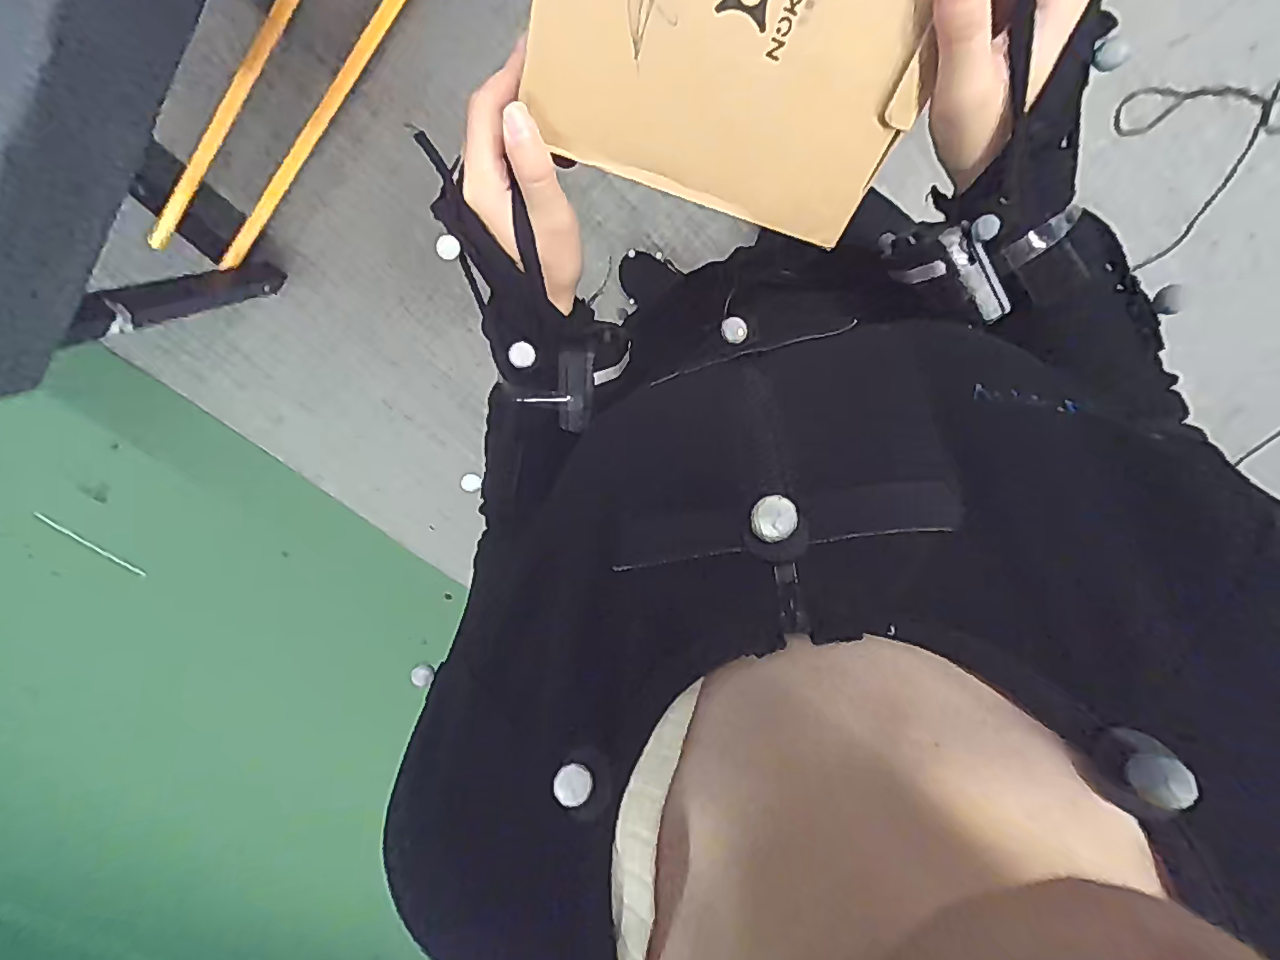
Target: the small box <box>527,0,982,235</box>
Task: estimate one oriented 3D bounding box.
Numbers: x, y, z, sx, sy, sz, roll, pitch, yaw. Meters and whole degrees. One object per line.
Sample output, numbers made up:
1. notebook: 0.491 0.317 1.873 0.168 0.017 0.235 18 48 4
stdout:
1. small box: 0.051 -0.259 0.275 0.179 0.176 0.168 12 132 -14
